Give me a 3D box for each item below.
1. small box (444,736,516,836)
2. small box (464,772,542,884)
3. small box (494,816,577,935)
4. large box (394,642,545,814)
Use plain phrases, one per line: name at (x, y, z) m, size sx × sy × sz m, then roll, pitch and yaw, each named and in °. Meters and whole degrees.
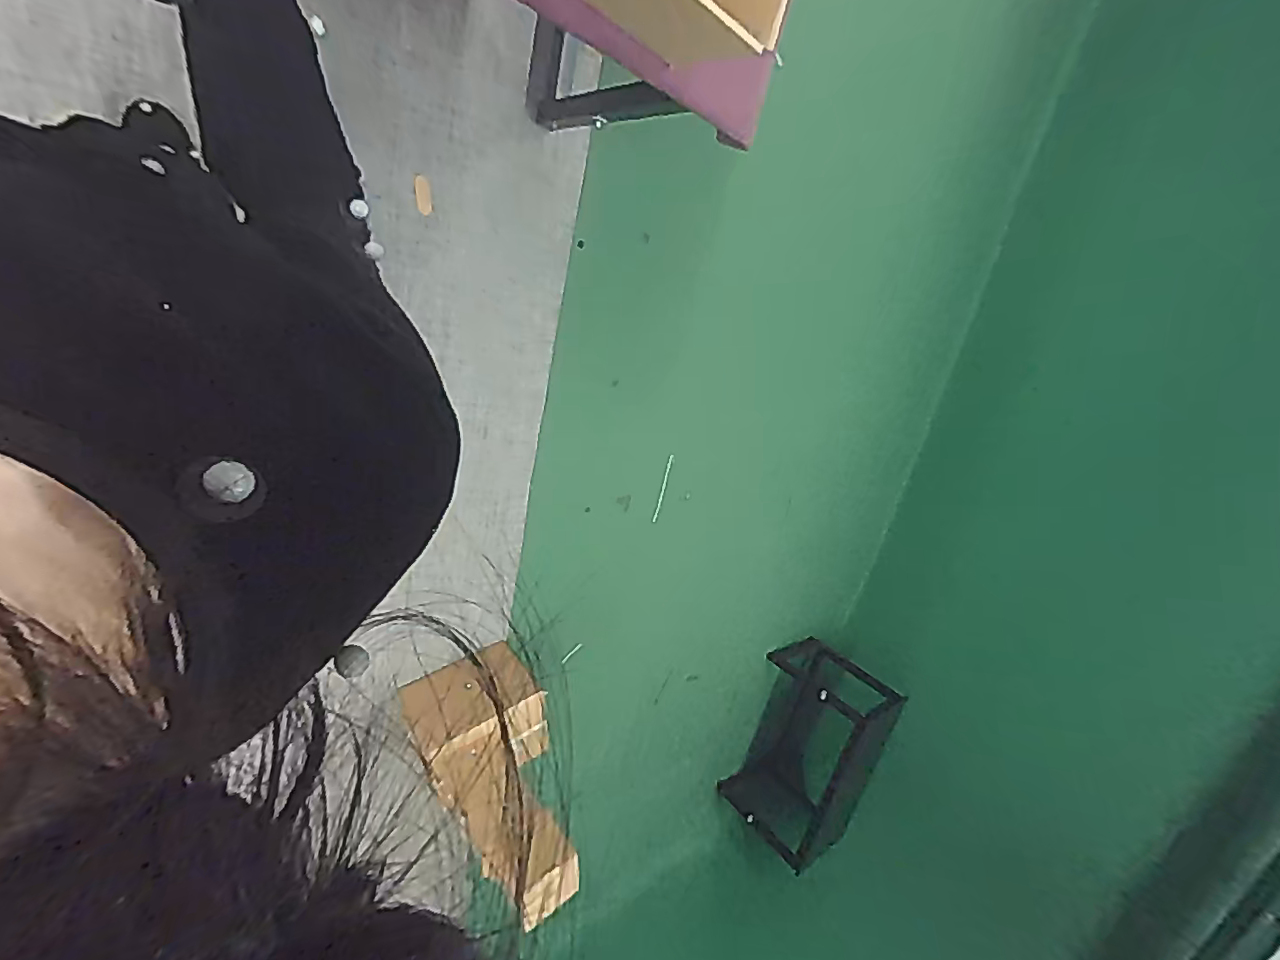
small box at (-0.505, 0.951, 1.696) m, size 0.179 × 0.176 × 0.168 m, roll -14°, pitch 121°, yaw -37°
small box at (-0.401, 1.010, 1.583) m, size 0.179 × 0.176 × 0.168 m, roll -20°, pitch 124°, yaw -36°
small box at (-0.287, 1.066, 1.480) m, size 0.168 × 0.176 × 0.179 m, roll -17°, pitch 123°, yaw -36°
large box at (-0.595, 0.856, 1.920) m, size 0.408 × 0.320 × 0.320 m, roll -20°, pitch 125°, yaw -36°
